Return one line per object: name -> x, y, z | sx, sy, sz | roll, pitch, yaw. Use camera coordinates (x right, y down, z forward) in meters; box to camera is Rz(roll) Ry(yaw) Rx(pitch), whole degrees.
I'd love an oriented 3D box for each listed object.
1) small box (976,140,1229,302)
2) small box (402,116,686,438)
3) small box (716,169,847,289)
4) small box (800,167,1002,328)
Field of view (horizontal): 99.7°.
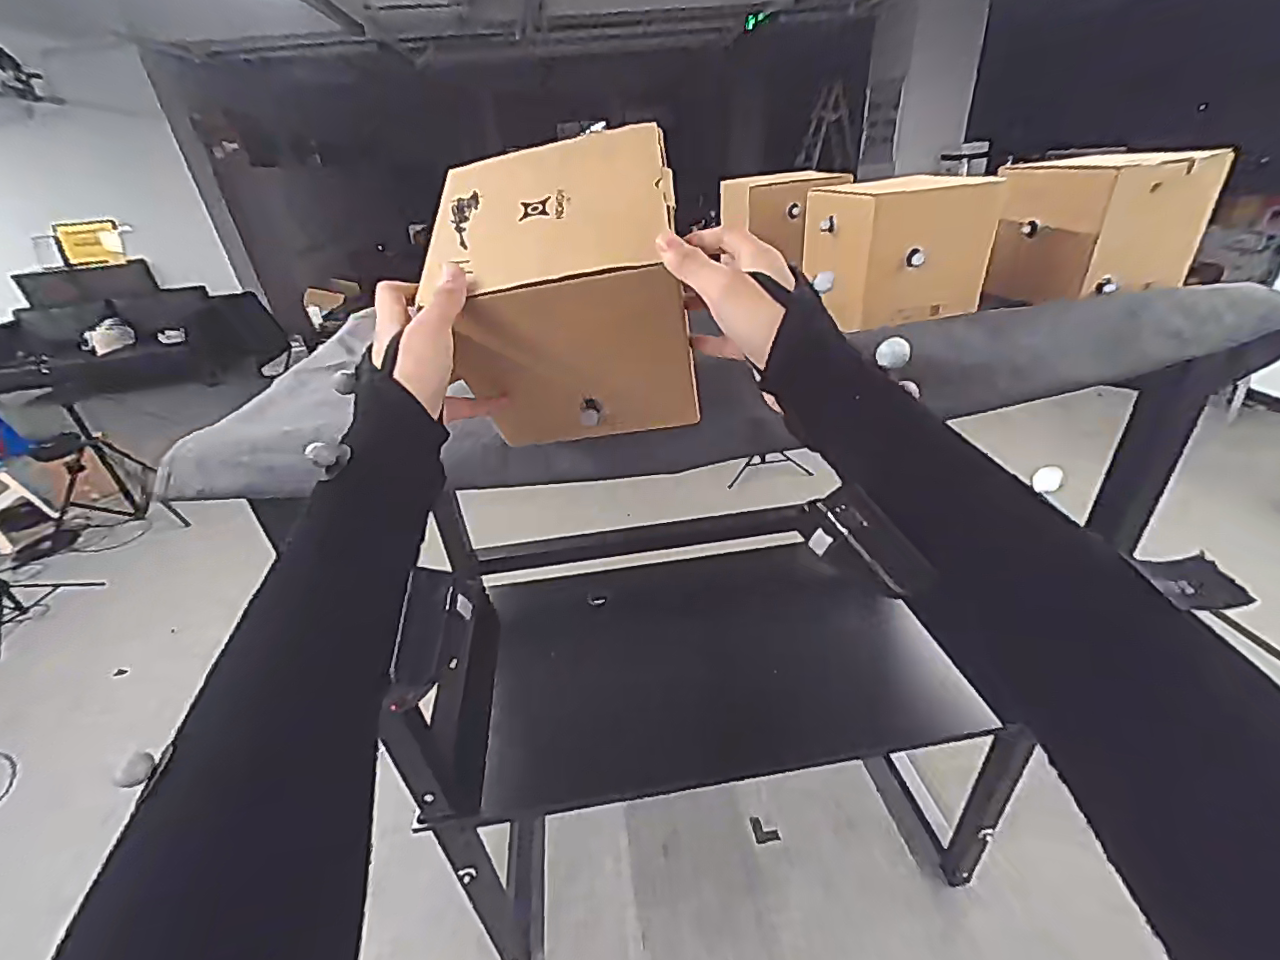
small box -> 0.596, -0.344, 0.727 | 0.168, 0.176, 0.179 | -12, 30, -9
small box -> -0.057, -0.154, 0.442 | 0.179, 0.176, 0.168 | -7, 57, 7
small box -> 0.240, -0.442, 0.951 | 0.179, 0.176, 0.168 | -8, 32, -5
small box -> 0.325, -0.304, 0.712 | 0.168, 0.176, 0.179 | -10, 30, -6
